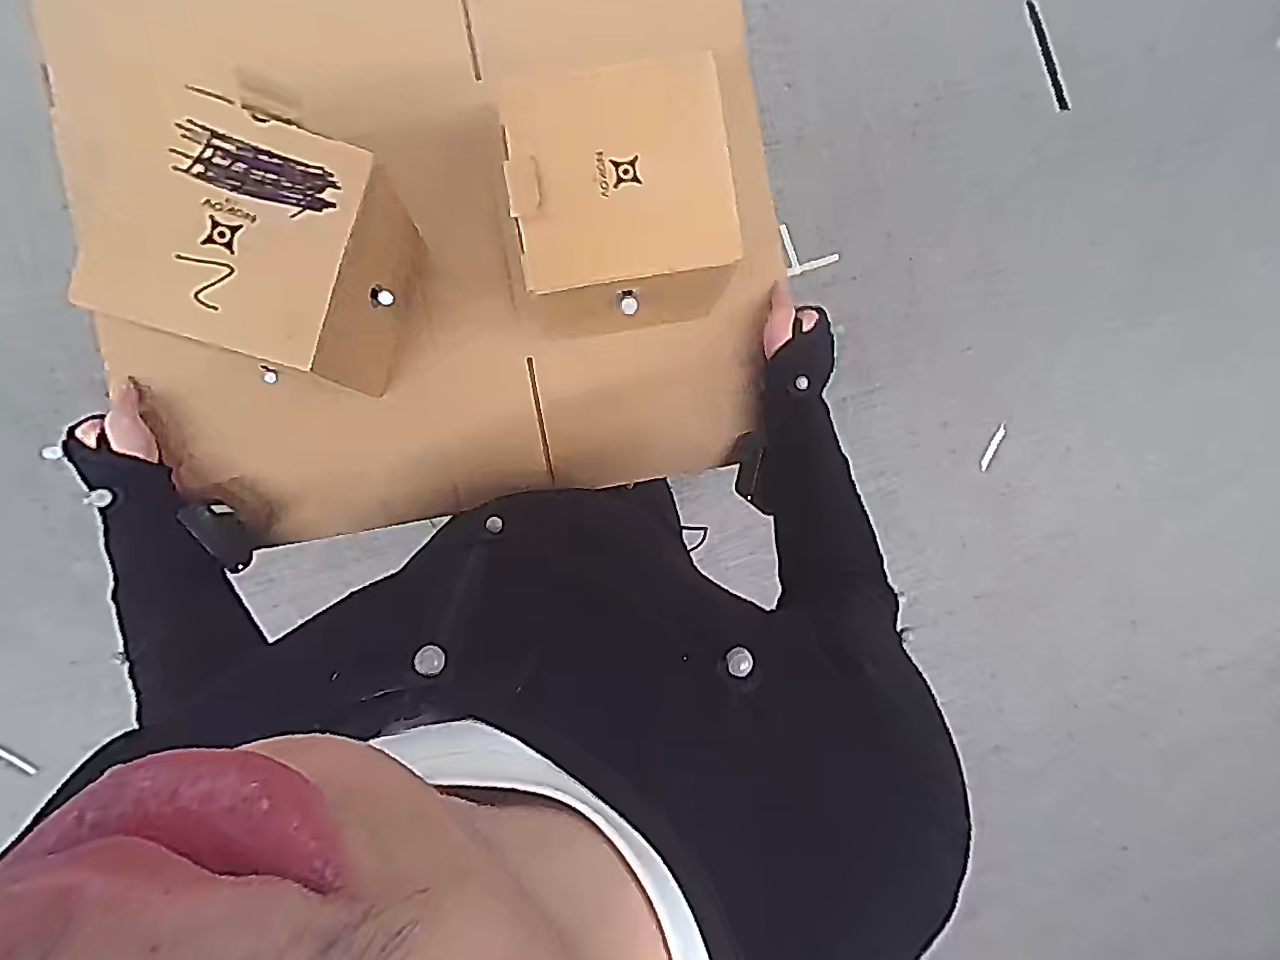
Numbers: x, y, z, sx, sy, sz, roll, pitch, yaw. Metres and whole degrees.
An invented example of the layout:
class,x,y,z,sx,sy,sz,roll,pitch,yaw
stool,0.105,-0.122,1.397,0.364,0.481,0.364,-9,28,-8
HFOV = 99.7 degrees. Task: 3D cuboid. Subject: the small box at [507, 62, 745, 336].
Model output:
class,x,y,z,sx,sy,sz,roll,pitch,yaw
small box,-0.012,-0.248,0.519,0.179,0.176,0.168,-9,92,0
